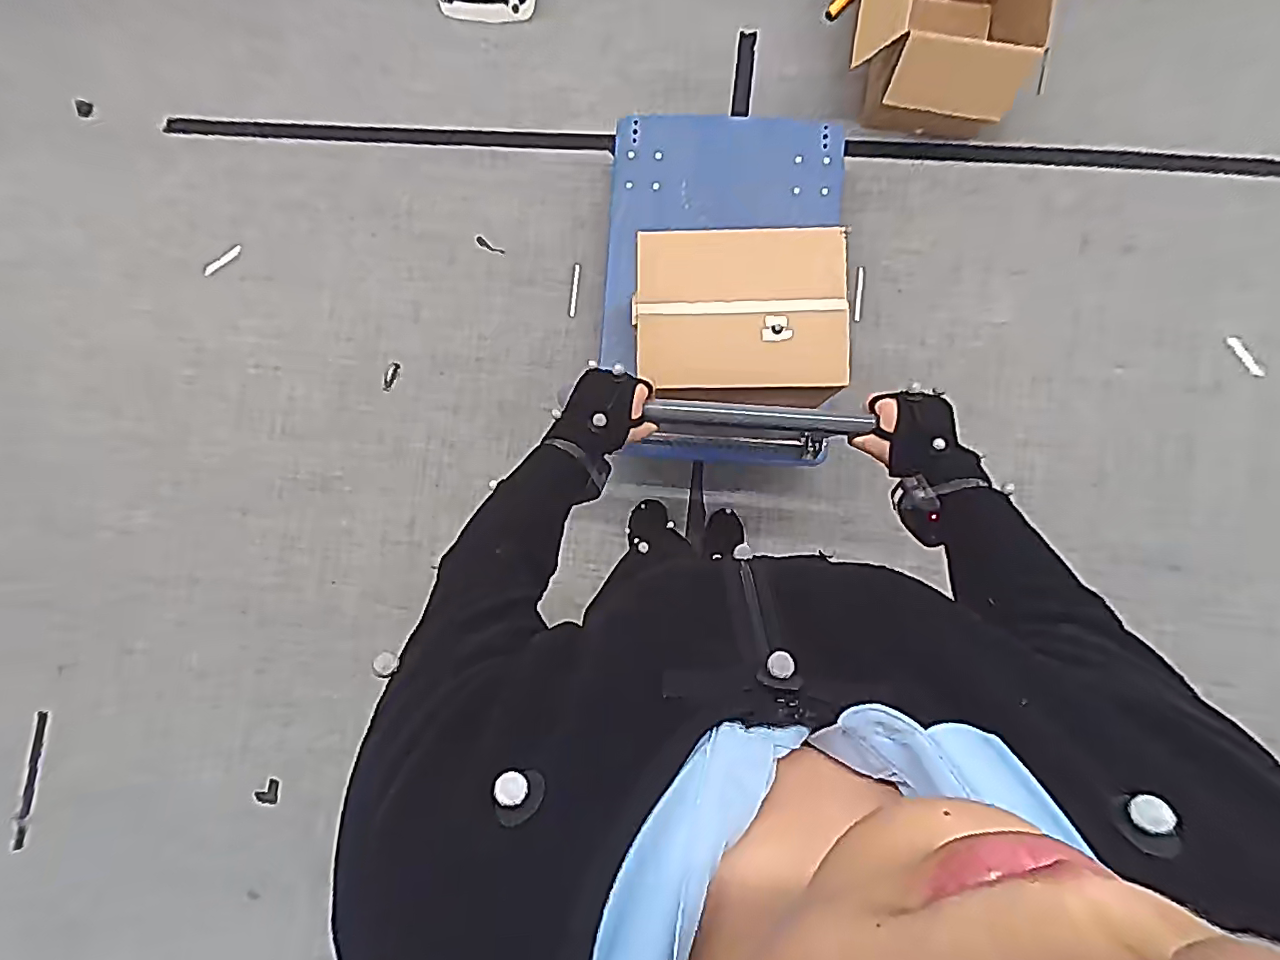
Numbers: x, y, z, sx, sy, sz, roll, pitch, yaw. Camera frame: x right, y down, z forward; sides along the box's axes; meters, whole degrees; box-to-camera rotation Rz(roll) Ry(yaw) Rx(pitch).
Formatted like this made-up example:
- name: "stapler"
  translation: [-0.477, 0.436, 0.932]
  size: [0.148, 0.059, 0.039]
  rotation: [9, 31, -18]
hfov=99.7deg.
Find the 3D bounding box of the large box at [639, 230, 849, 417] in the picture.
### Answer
- name: "large box"
  translation: [0.204, -0.322, 1.198]
  size: [0.408, 0.320, 0.320]
  rotation: [0, 87, 2]
